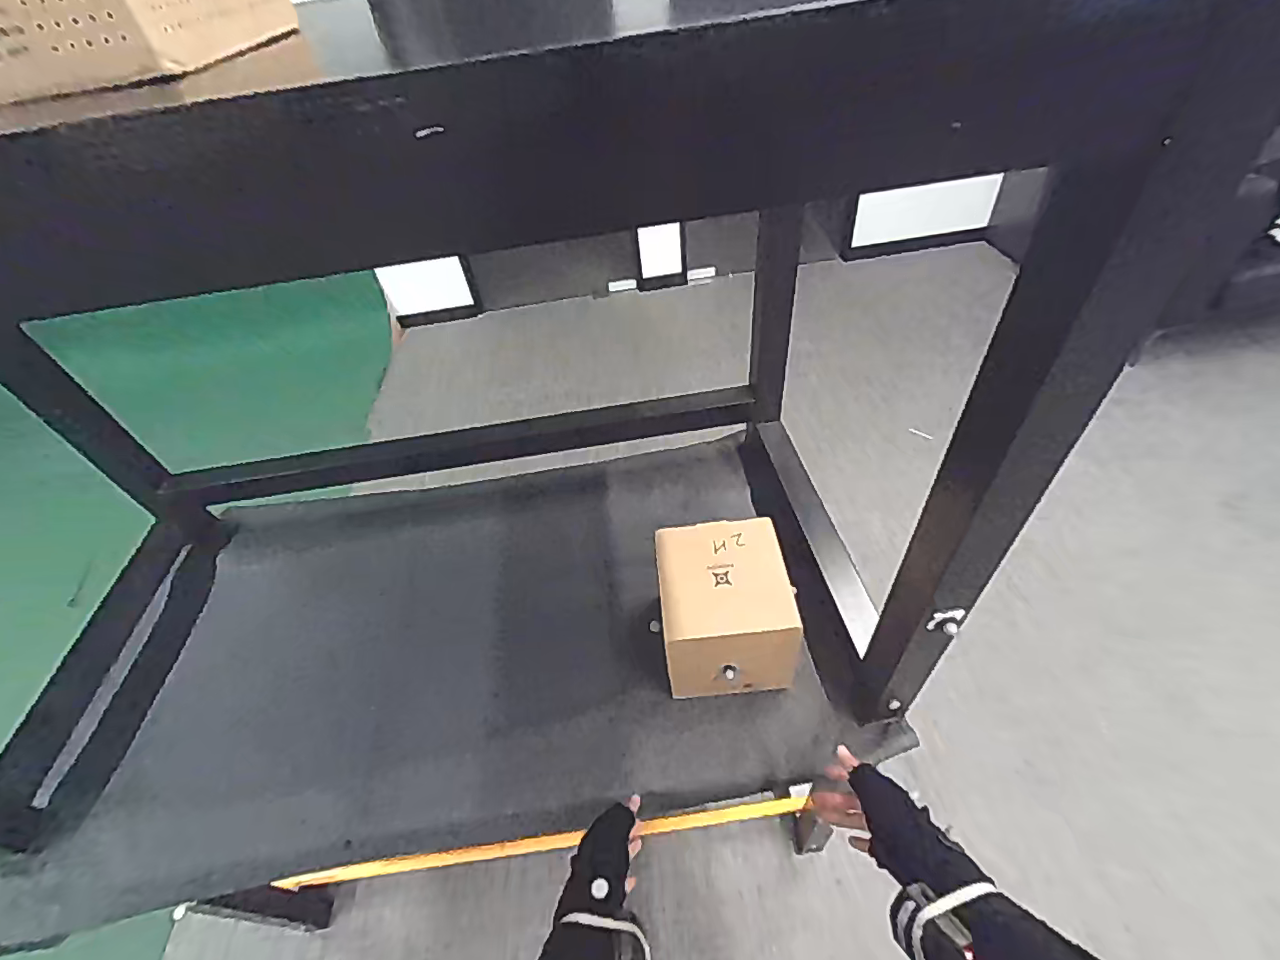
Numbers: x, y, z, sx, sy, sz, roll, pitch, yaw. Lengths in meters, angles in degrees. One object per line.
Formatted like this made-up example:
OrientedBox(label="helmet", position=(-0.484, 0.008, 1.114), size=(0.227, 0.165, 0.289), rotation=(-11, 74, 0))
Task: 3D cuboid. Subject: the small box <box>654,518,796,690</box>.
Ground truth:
OrientedBox(label="small box", position=(0.112, 0.179, 0.756), size=(0.168, 0.176, 0.179), rotation=(-6, 45, 2))
